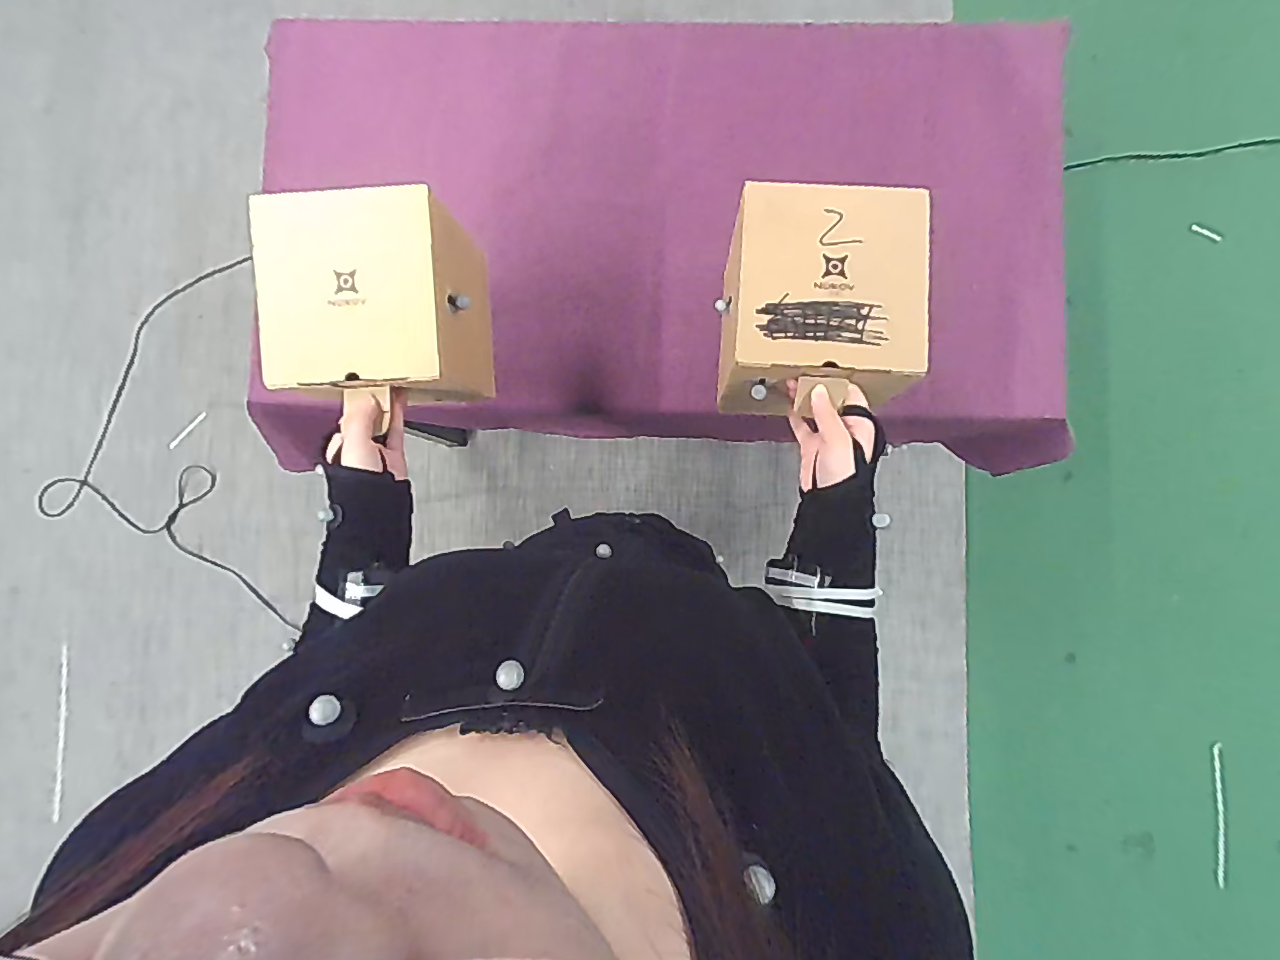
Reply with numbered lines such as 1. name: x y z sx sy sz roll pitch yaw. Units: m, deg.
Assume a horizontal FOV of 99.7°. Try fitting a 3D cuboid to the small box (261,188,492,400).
1. small box: -0.267 -0.185 0.585 0.168 0.176 0.179 -3 93 2
